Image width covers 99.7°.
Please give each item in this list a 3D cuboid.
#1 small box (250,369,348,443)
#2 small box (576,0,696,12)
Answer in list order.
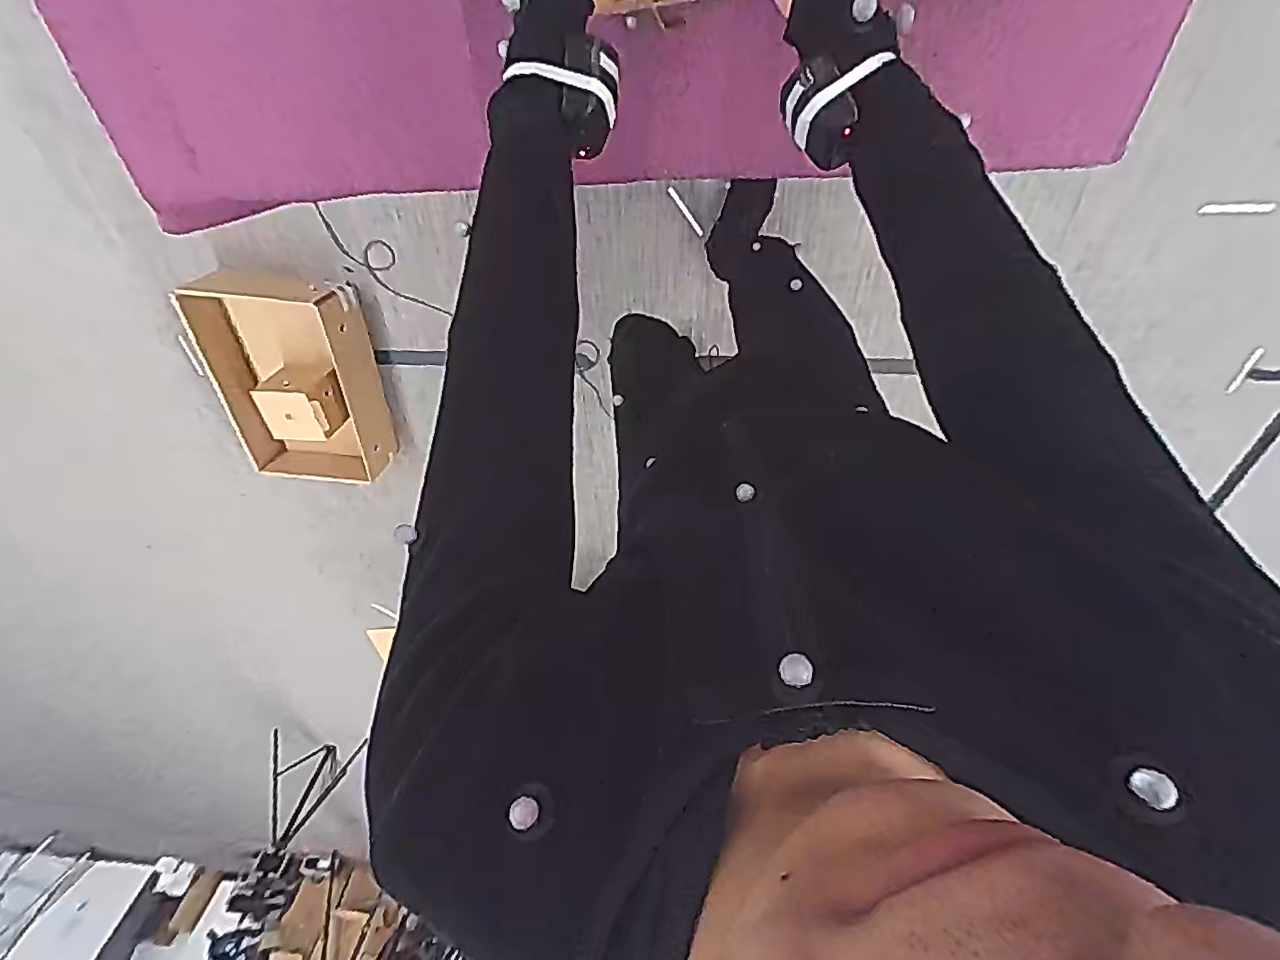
[{"bbox_3d":[-1.027,-0.229,1.652,0.179,0.176,0.168,2,127,5],"label":"small box"},{"bbox_3d":[0.025,-0.510,0.444,0.168,0.176,0.179,-3,127,8],"label":"small box"}]
